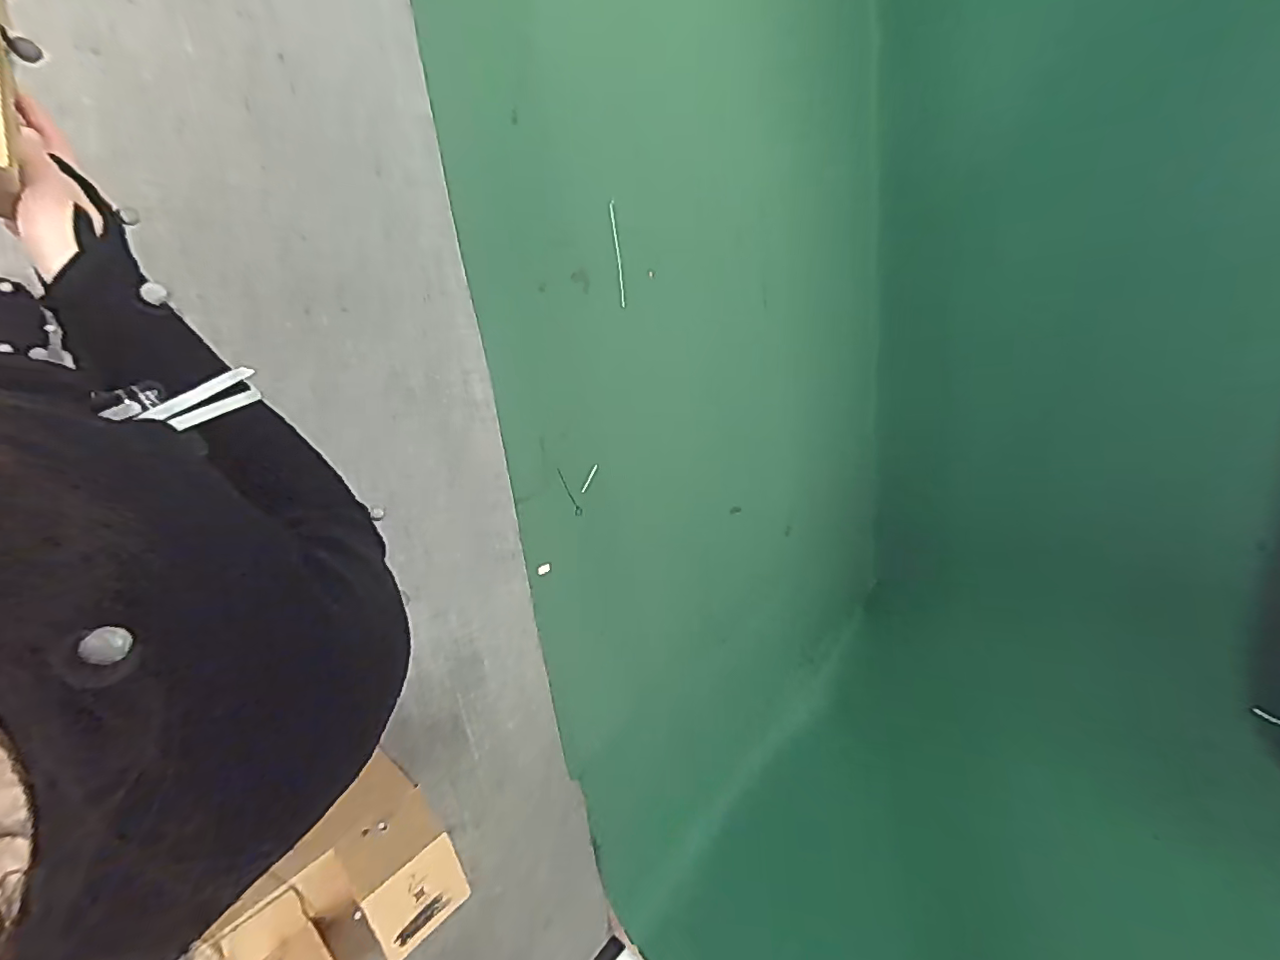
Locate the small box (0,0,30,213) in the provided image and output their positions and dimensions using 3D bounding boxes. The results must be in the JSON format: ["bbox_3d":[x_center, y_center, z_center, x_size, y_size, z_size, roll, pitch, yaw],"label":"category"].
[{"bbox_3d":[-0.451,-0.261,0.281,0.168,0.176,0.179,-4,102,-46],"label":"small box"}]

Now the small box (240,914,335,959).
[{"bbox_3d":[-0.634,0.948,0.975,0.168,0.176,0.179,-30,118,-43],"label":"small box"}]
